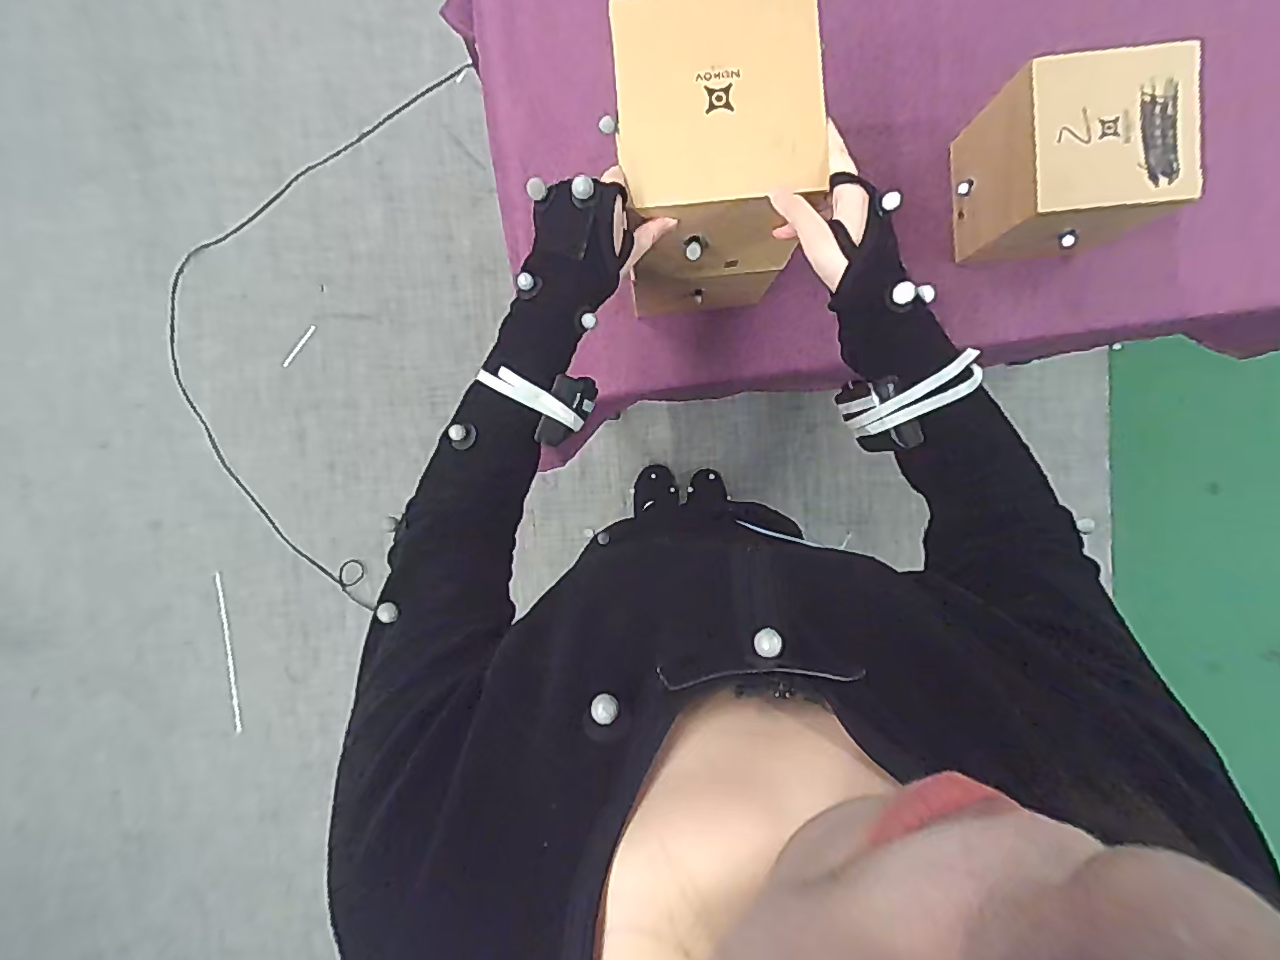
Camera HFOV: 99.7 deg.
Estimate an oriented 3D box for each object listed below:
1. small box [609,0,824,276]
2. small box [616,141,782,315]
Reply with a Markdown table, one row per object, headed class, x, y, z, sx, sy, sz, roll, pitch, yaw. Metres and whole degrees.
| class | x | y | z | sx | sy | sz | roll | pitch | yaw |
| --- | --- | --- | --- | --- | --- | --- | --- | --- | --- |
| small box | 0.065 | -0.307 | 0.513 | 0.168 | 0.176 | 0.179 | -4 | 89 | 2 |
| small box | 0.068 | -0.316 | 0.679 | 0.179 | 0.176 | 0.168 | -6 | 92 | 2 |
